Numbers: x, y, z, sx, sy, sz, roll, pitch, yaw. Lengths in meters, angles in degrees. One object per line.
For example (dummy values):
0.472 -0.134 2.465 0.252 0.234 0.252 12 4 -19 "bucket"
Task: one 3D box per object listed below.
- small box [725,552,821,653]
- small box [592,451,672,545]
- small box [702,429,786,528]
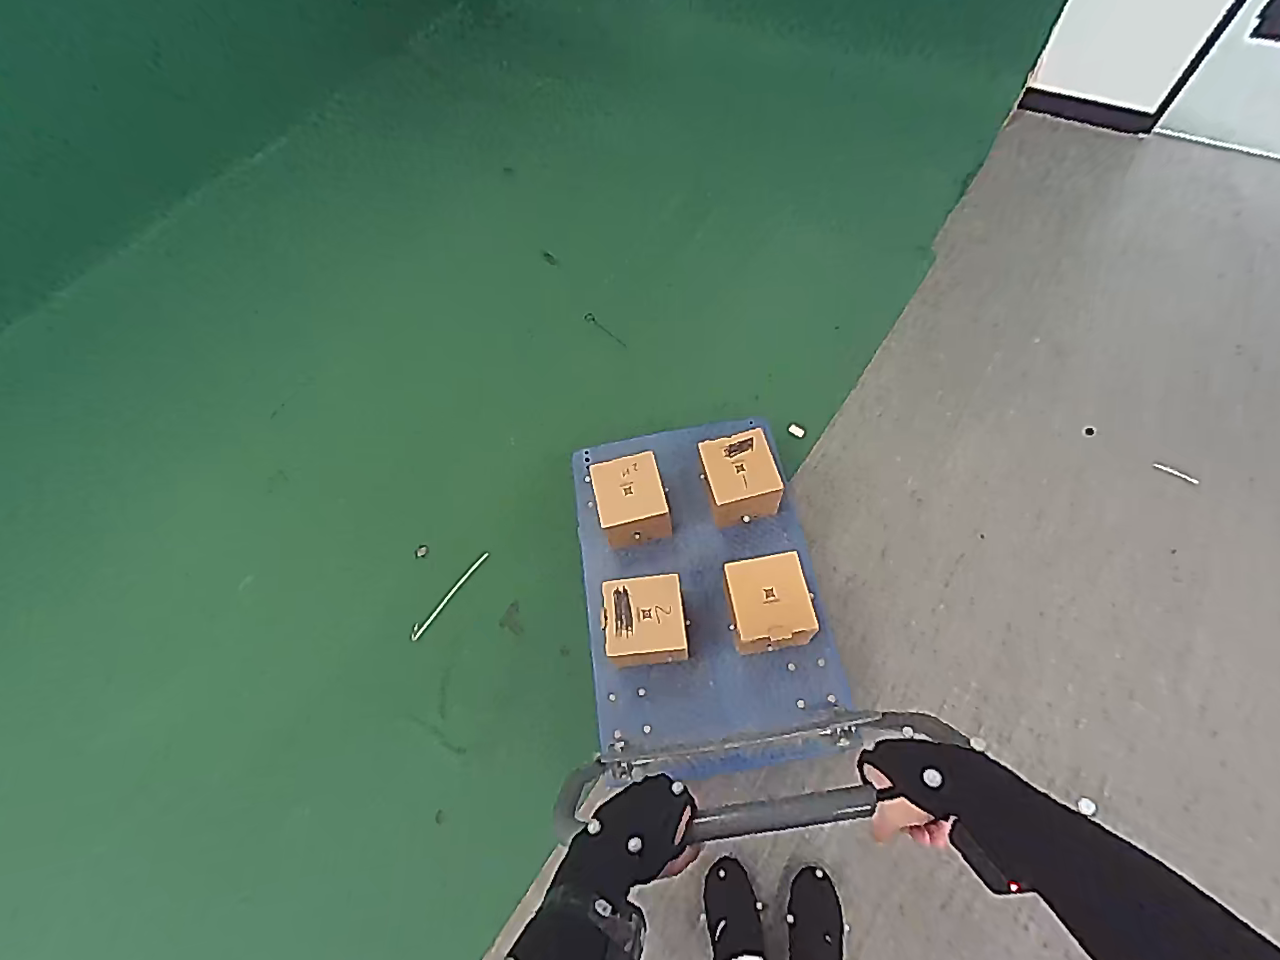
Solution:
0.291 0.284 1.231 0.168 0.176 0.179 -10 64 1 "small box"
-0.016 0.054 1.375 0.168 0.176 0.179 -13 64 -1 "small box"
0.255 0.000 1.370 0.168 0.176 0.179 -14 64 1 "small box"
